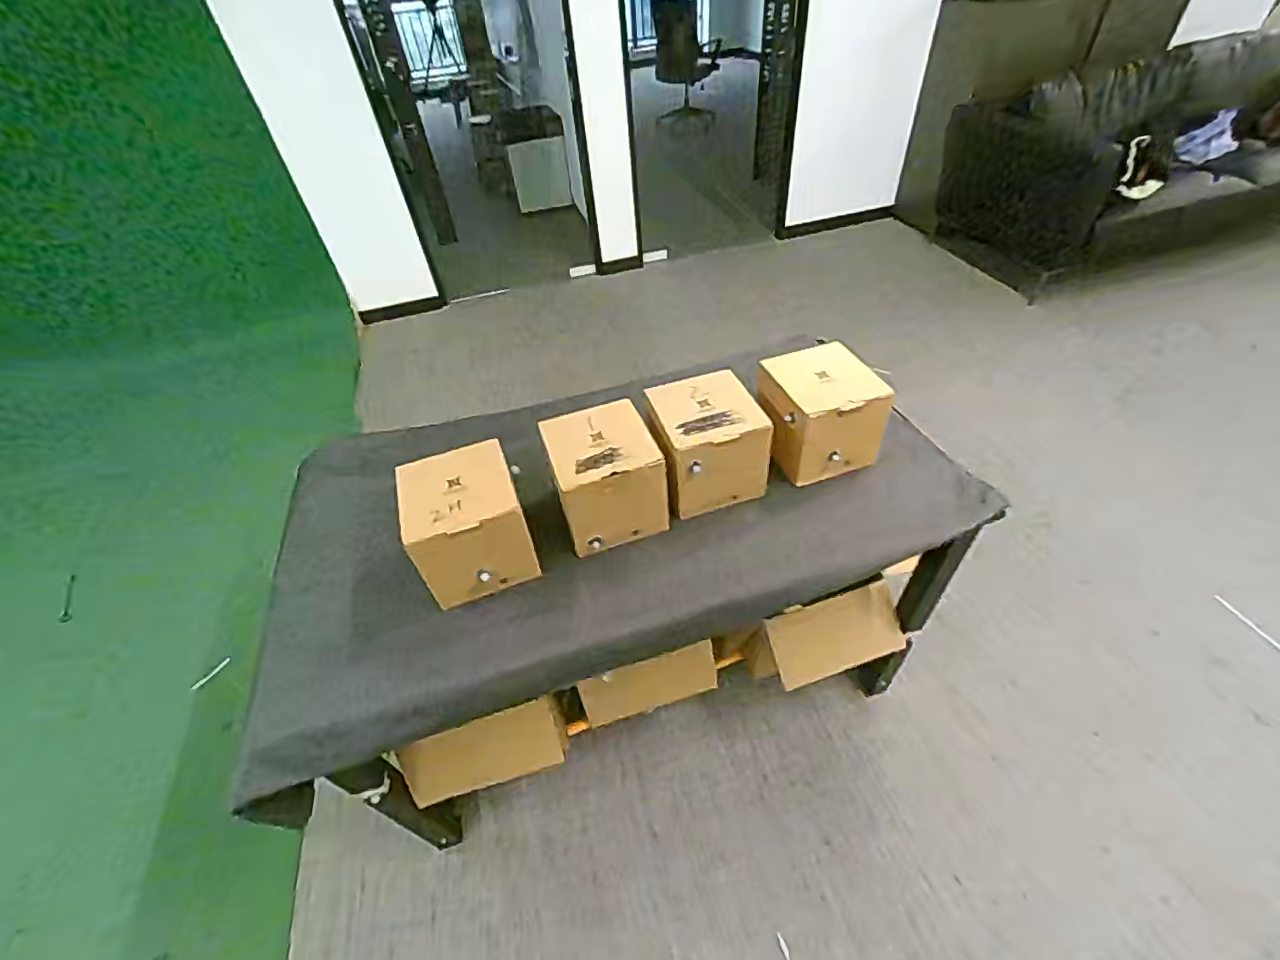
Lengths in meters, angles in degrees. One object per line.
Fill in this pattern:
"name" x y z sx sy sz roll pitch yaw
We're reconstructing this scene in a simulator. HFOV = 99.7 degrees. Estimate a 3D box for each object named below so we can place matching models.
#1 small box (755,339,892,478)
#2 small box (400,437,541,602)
"small box" 0.325 -0.132 1.004 0.168 0.176 0.179 -17 47 -9
"small box" -0.272 0.064 0.878 0.168 0.176 0.179 -19 47 -11
